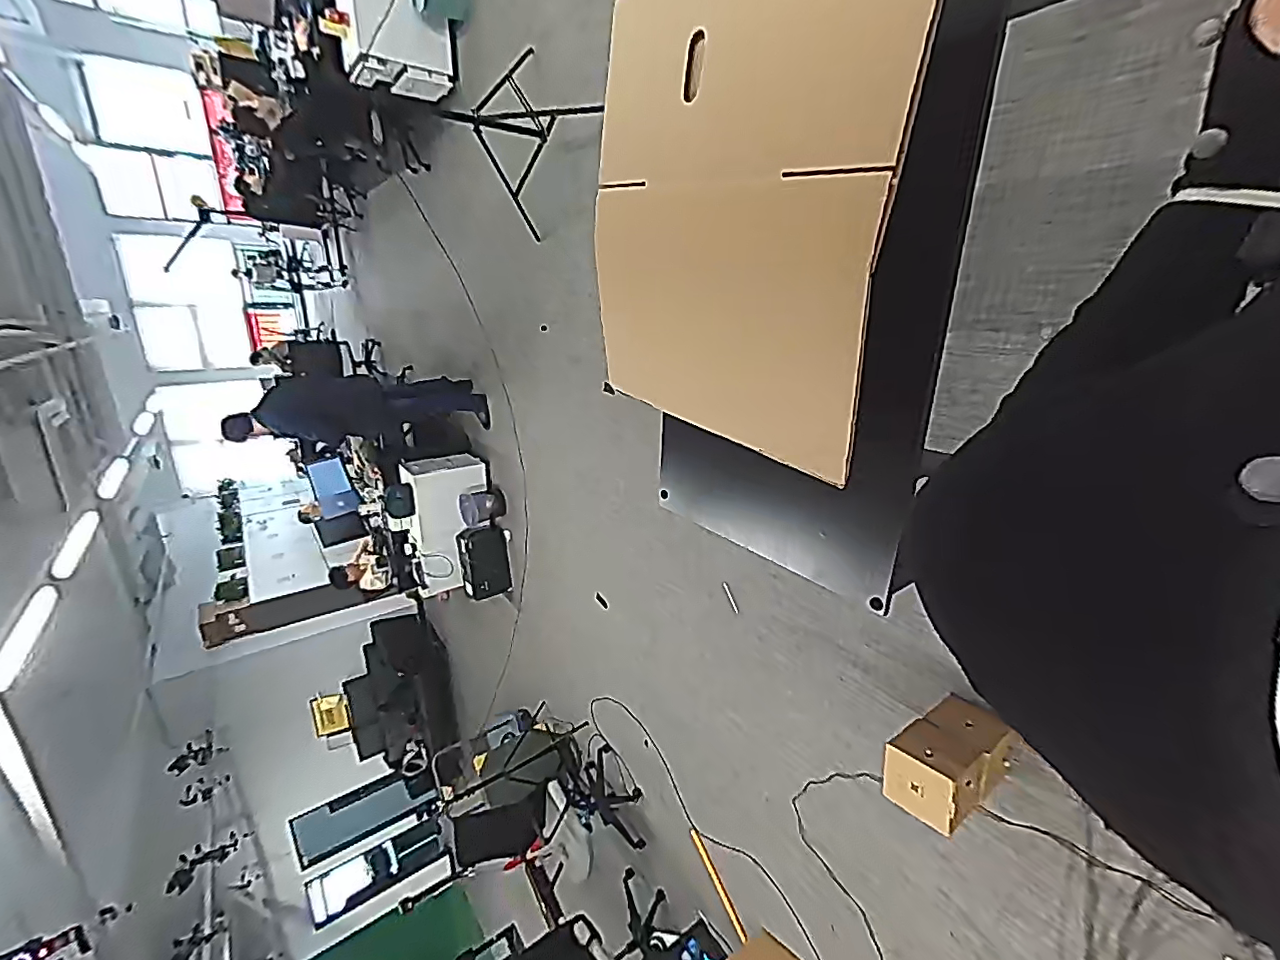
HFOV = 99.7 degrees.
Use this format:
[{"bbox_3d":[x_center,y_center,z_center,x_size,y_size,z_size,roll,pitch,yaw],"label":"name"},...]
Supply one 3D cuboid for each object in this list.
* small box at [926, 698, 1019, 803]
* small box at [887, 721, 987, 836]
[{"bbox_3d":[0.912,0.737,1.501,0.179,0.176,0.168,19,116,50],"label":"small box"},{"bbox_3d":[0.778,0.767,1.414,0.179,0.176,0.168,15,111,54],"label":"small box"}]
